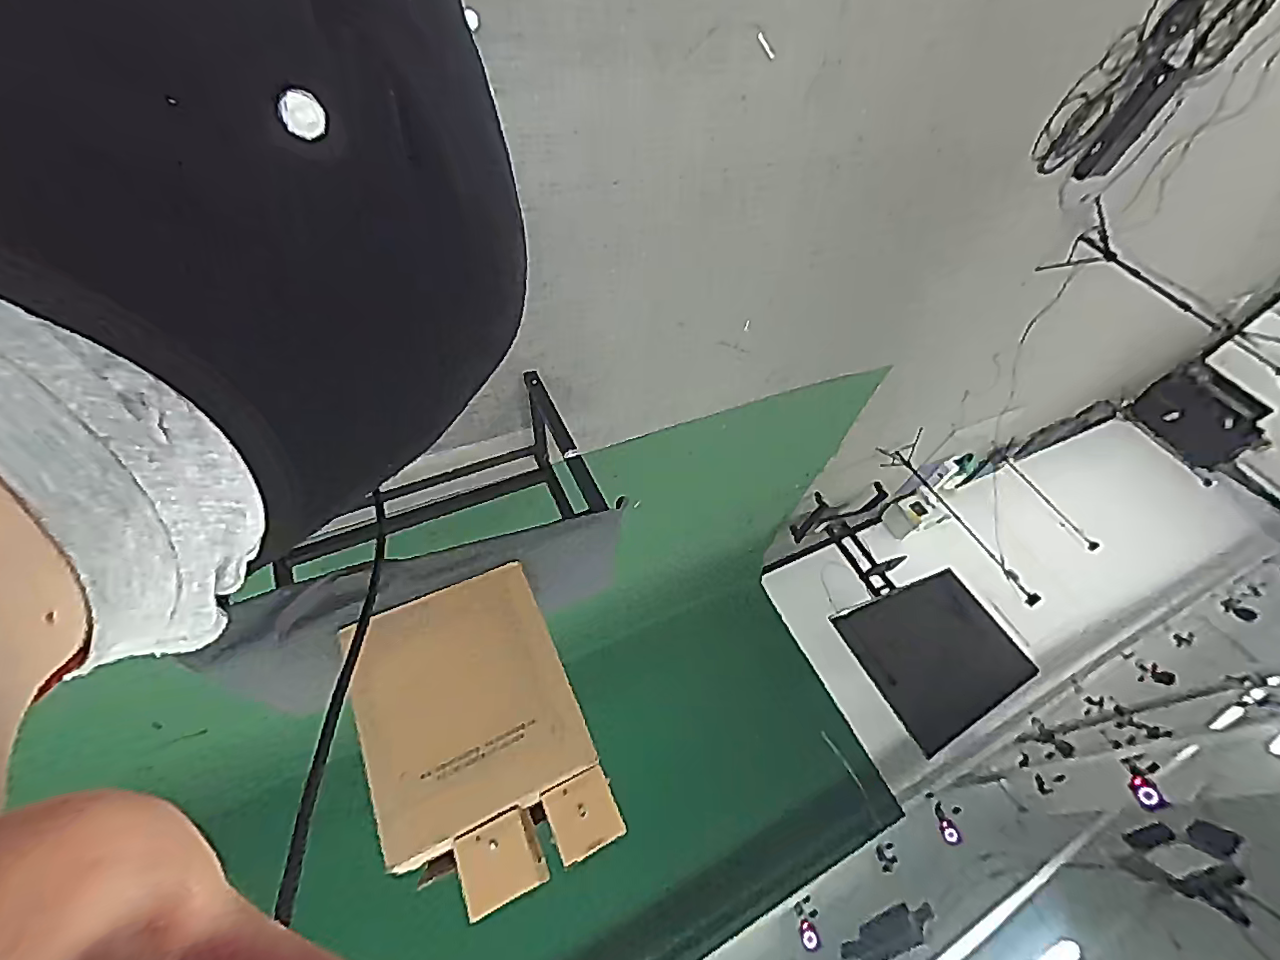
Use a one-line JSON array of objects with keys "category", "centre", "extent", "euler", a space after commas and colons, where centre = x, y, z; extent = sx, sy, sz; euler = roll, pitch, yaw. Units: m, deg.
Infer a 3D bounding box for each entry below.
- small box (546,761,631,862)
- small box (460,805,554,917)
[{"category": "small box", "centre": [-0.139, 0.866, 1.420], "extent": [0.168, 0.176, 0.179], "euler": [-21, 150, -19]}, {"category": "small box", "centre": [-0.328, 0.935, 1.343], "extent": [0.168, 0.176, 0.179], "euler": [-23, 150, -15]}]
